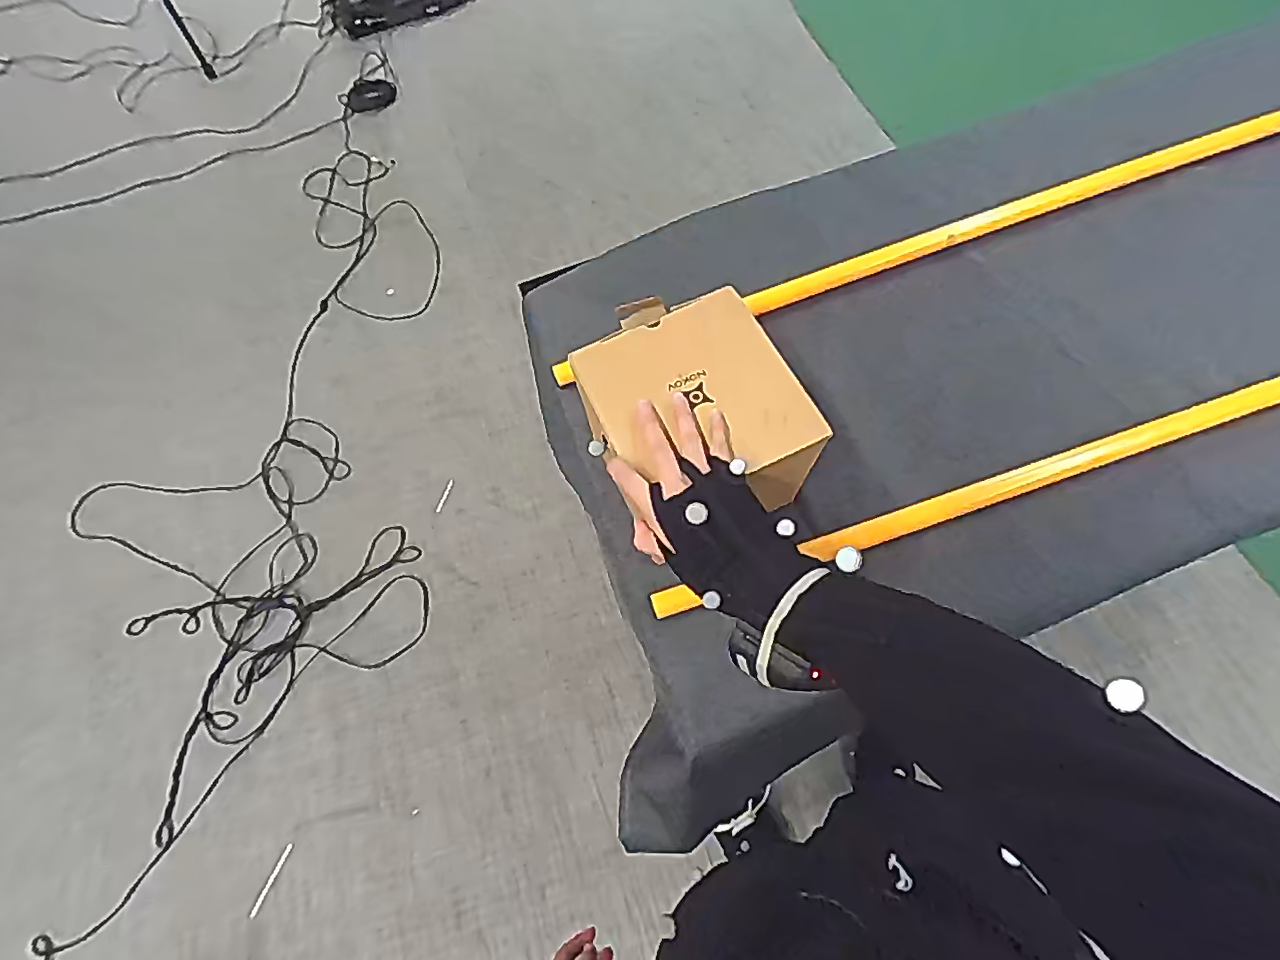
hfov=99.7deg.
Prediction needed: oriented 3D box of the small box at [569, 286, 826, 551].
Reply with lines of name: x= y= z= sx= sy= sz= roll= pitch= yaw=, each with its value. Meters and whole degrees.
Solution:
small box: x=0.052 y=-0.045 z=0.532 sx=0.168 sy=0.176 sz=0.179 roll=-25 pitch=67 yaw=-5
